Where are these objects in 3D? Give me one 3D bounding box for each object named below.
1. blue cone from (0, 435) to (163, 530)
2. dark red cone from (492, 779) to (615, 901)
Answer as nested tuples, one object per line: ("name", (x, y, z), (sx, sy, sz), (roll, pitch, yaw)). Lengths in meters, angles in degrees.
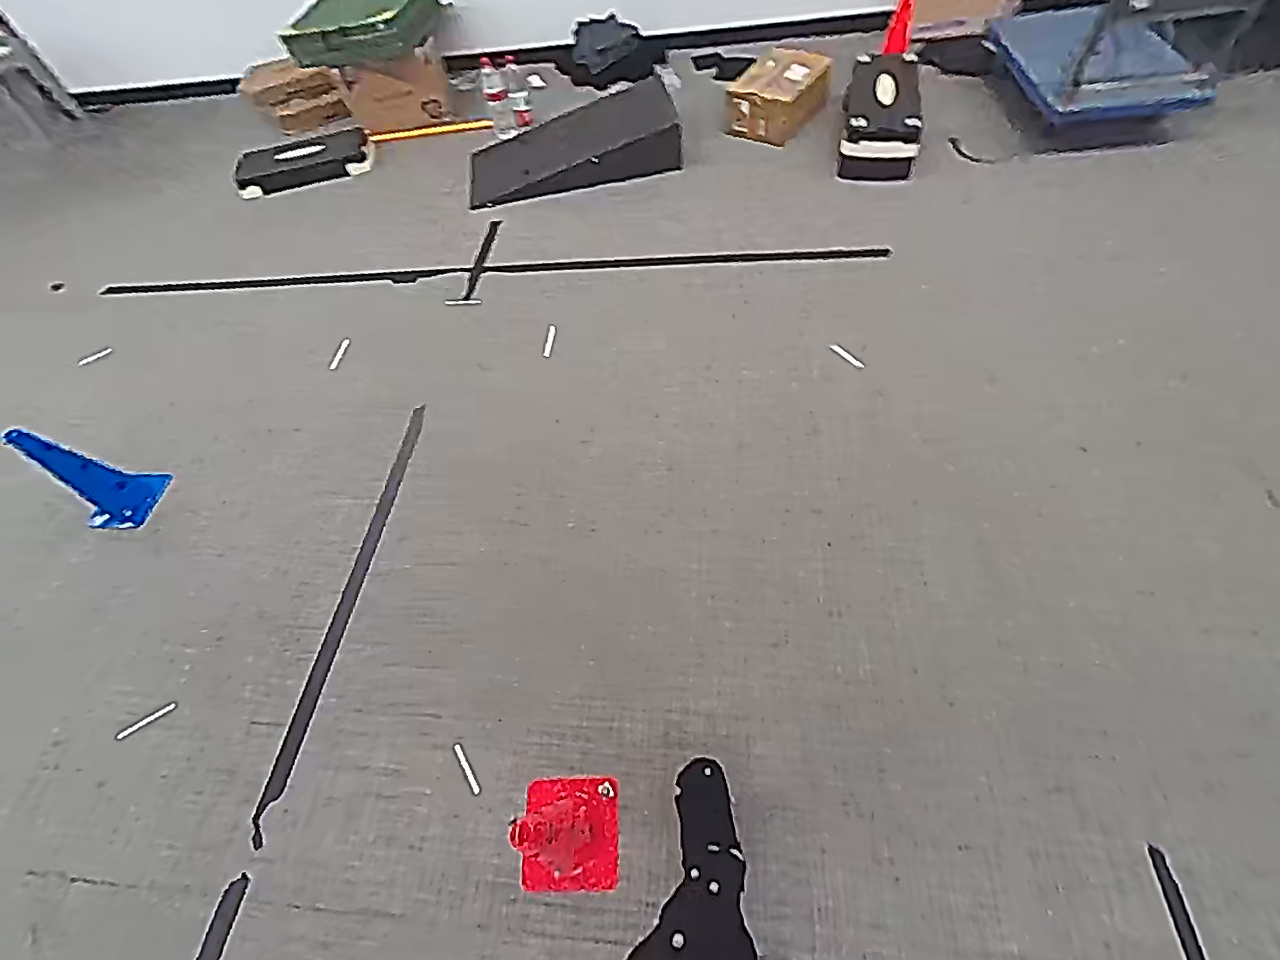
("blue cone", (-1.675, -0.010, 1.608), (0.192, 0.380, 0.193), (1, 57, 9))
("dark red cone", (-0.173, 0.634, 0.955), (0.201, 0.394, 0.202), (-6, 57, 5))
